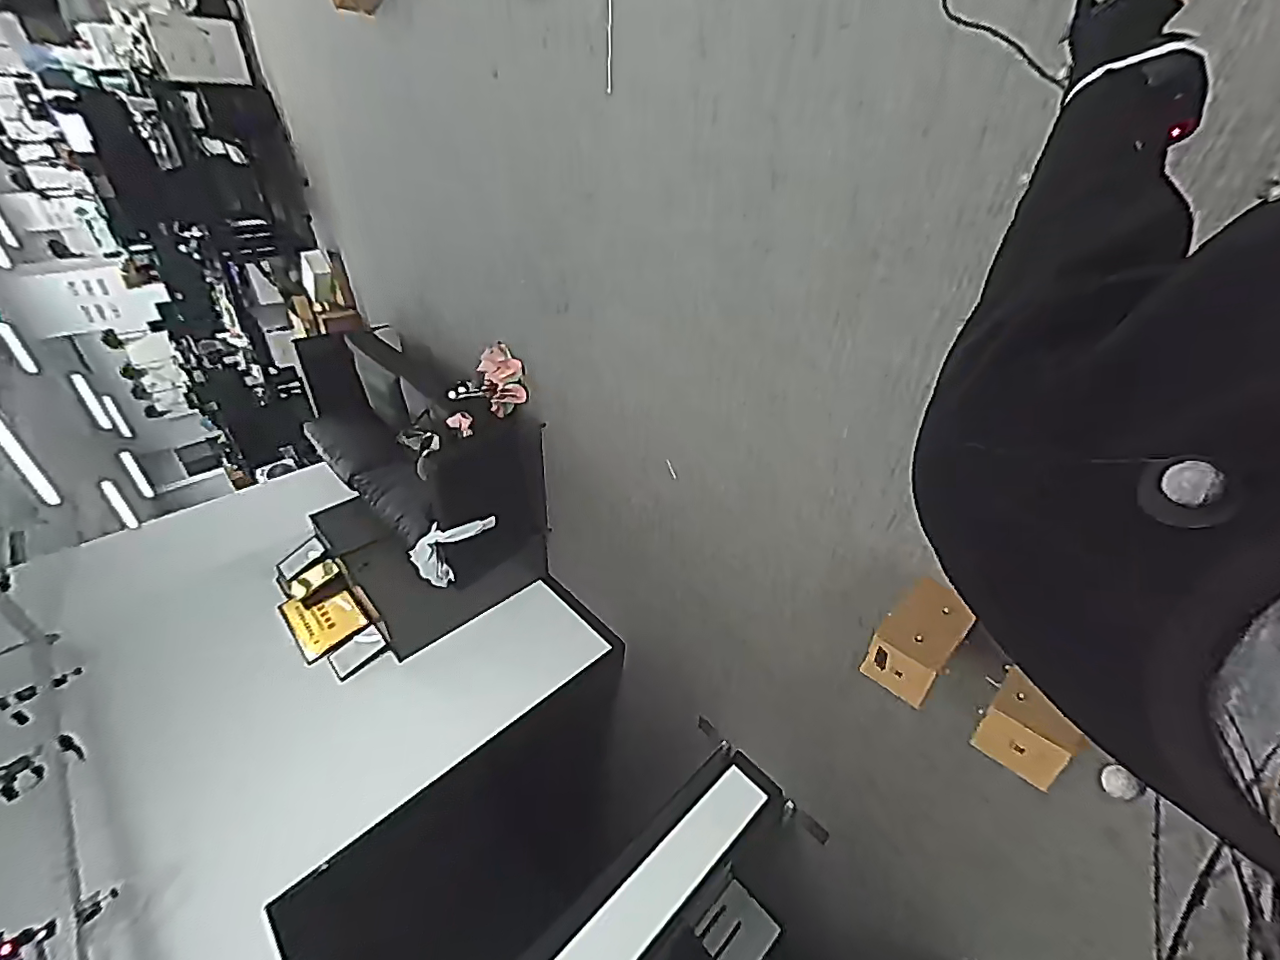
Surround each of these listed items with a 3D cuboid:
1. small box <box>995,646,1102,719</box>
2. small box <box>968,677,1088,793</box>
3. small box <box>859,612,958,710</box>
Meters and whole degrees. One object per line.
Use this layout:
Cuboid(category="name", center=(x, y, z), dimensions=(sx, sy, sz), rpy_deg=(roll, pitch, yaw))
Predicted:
Cuboid(category="small box", center=(1.093, 0.579, 1.458), dimensions=(0.179, 0.176, 0.168), rpy_deg=(30, 133, 37))
Cuboid(category="small box", center=(0.973, 0.627, 1.358), dimensions=(0.179, 0.176, 0.168), rpy_deg=(30, 133, 36))
Cuboid(category="small box", center=(0.764, 0.504, 1.540), dimensions=(0.179, 0.176, 0.168), rpy_deg=(31, 133, 35))
